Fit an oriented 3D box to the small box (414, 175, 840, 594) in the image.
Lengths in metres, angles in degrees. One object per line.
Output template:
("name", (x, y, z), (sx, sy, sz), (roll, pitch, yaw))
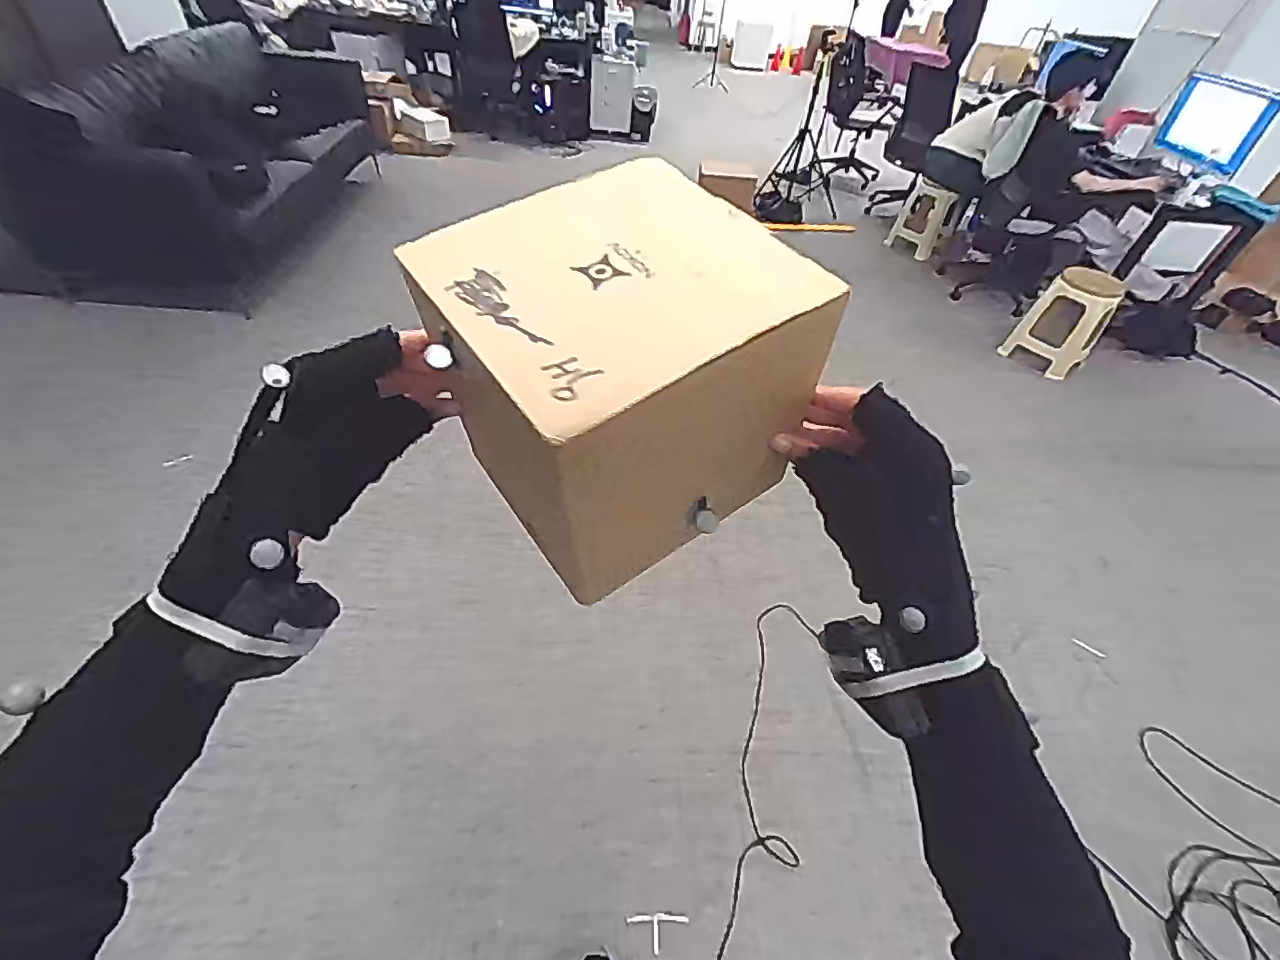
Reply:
("small box", (-0.011, -0.059, 0.353), (0.179, 0.176, 0.168), (-30, 60, -20))
